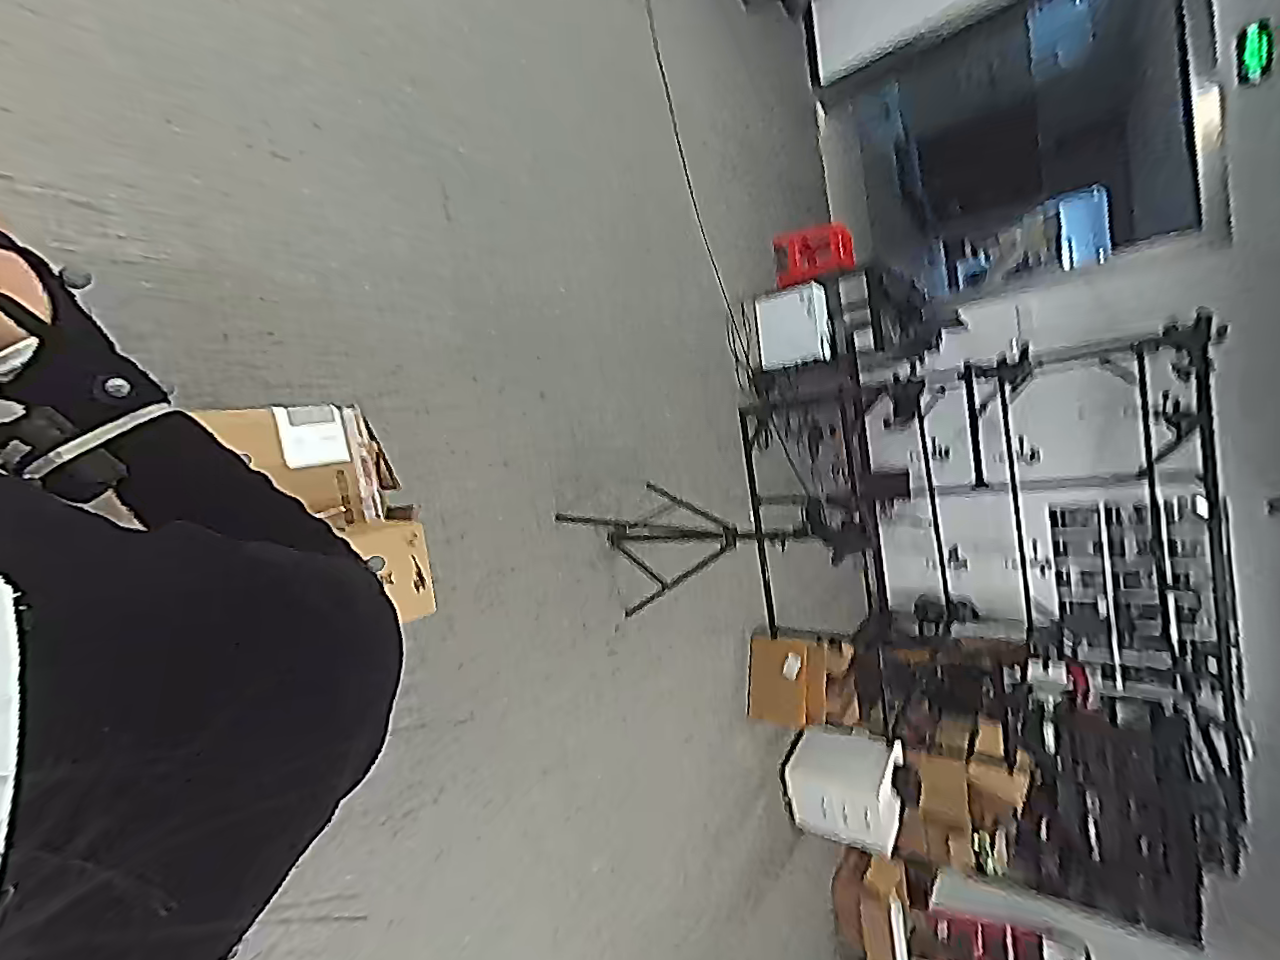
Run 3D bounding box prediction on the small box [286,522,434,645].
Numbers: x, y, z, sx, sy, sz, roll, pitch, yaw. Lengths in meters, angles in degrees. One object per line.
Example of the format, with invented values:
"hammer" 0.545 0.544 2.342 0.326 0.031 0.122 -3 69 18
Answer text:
"small box" -0.489 0.169 0.938 0.179 0.176 0.168 -12 97 -49
